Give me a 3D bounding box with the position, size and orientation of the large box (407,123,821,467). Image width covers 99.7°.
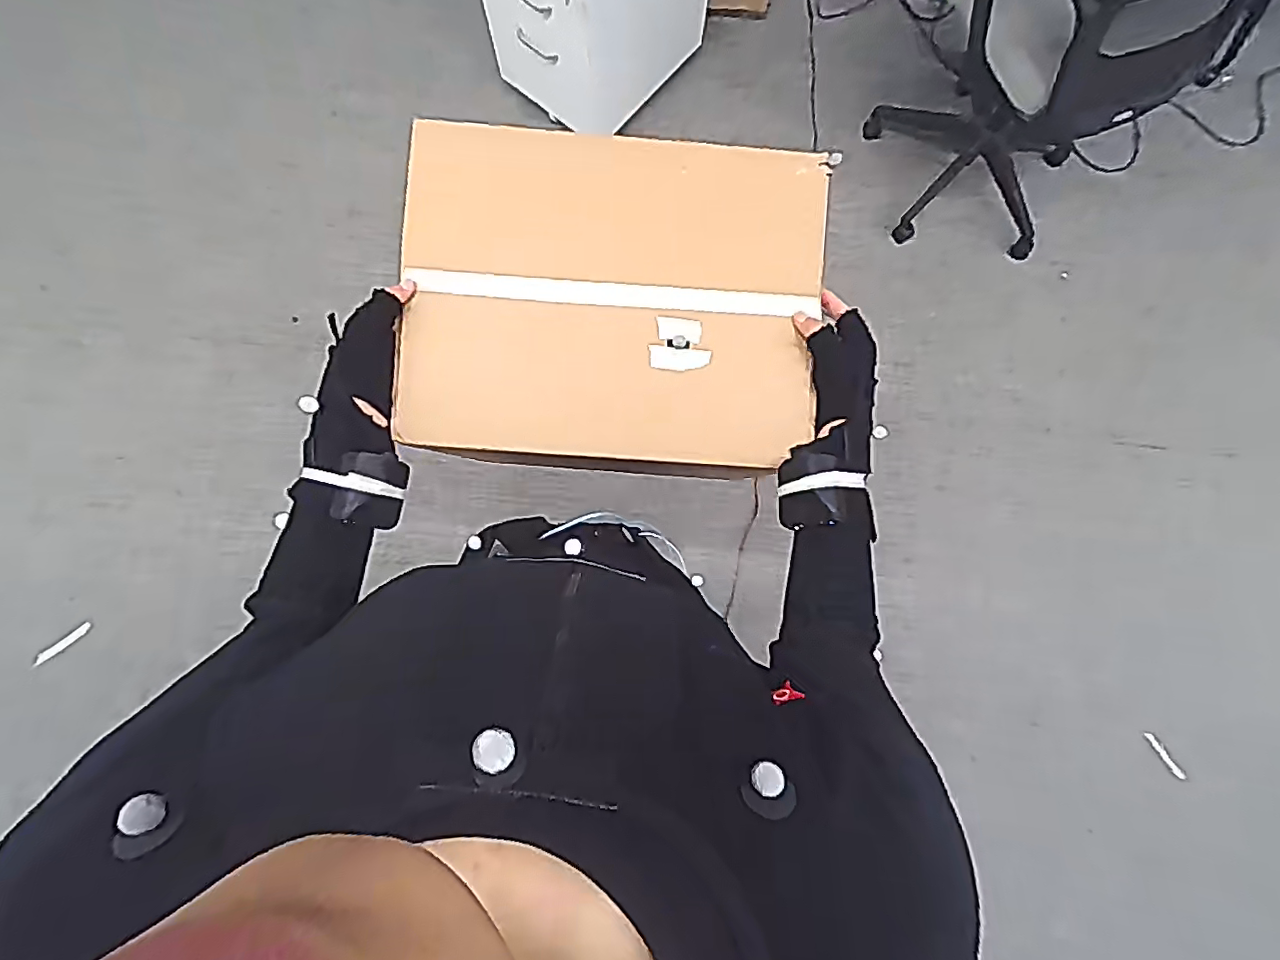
[{"bbox_3d":[-0.030,-0.186,0.684,0.408,0.320,0.320,4,90,-2],"label":"large box"}]
